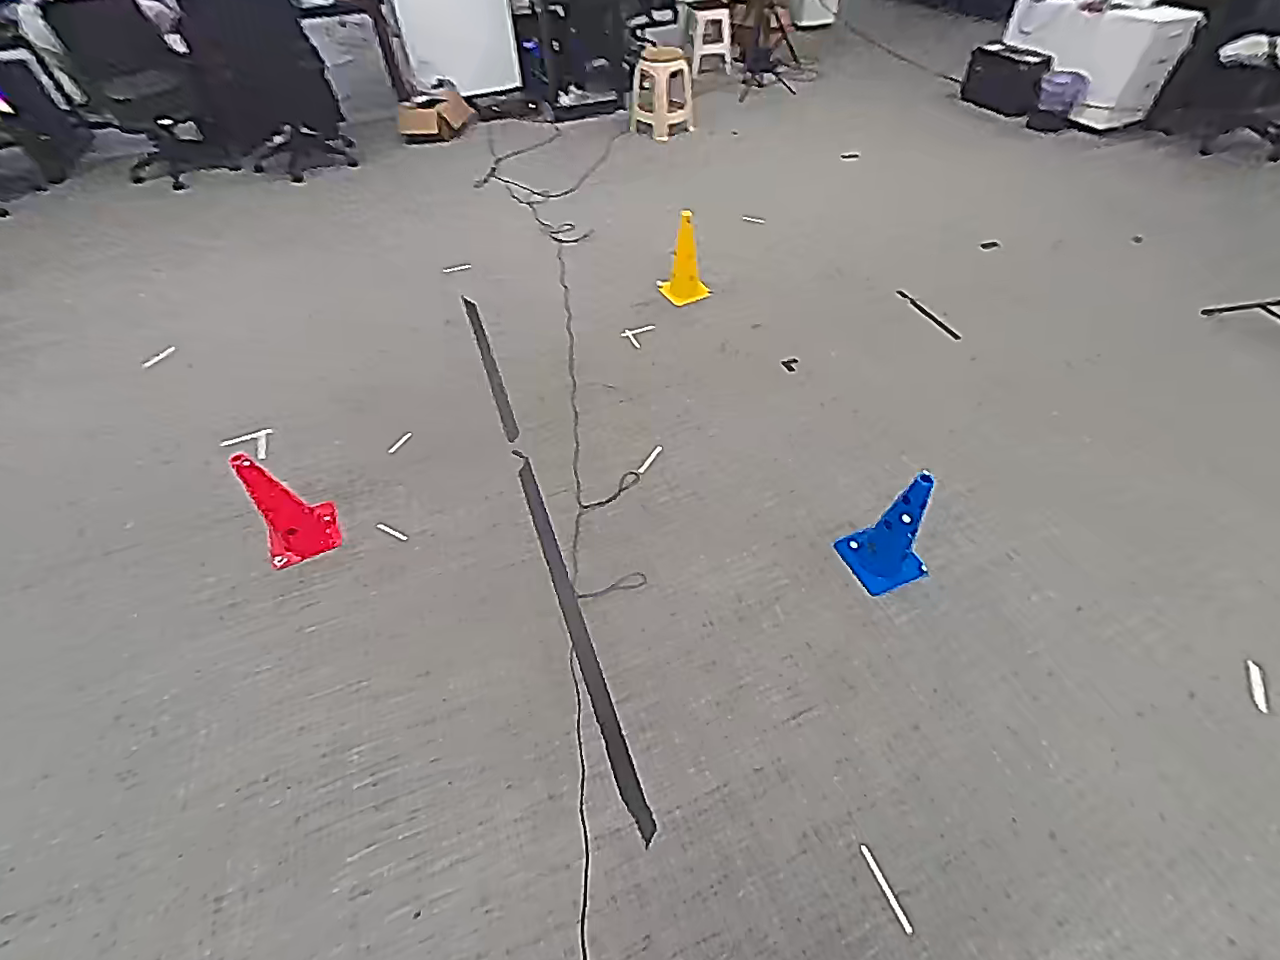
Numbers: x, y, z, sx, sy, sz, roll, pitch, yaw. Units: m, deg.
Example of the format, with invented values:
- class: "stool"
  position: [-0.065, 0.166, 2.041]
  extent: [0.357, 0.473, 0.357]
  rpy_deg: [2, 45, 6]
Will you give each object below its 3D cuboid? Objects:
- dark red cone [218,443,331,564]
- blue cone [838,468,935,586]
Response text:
- class: "dark red cone"
  position: [-1.065, 0.047, 1.537]
  extent: [0.201, 0.394, 0.202]
  rpy_deg: [-24, 53, -18]
- class: "blue cone"
  position: [0.692, 0.105, 1.448]
  extent: [0.192, 0.380, 0.193]
  rpy_deg: [-17, 51, -13]
